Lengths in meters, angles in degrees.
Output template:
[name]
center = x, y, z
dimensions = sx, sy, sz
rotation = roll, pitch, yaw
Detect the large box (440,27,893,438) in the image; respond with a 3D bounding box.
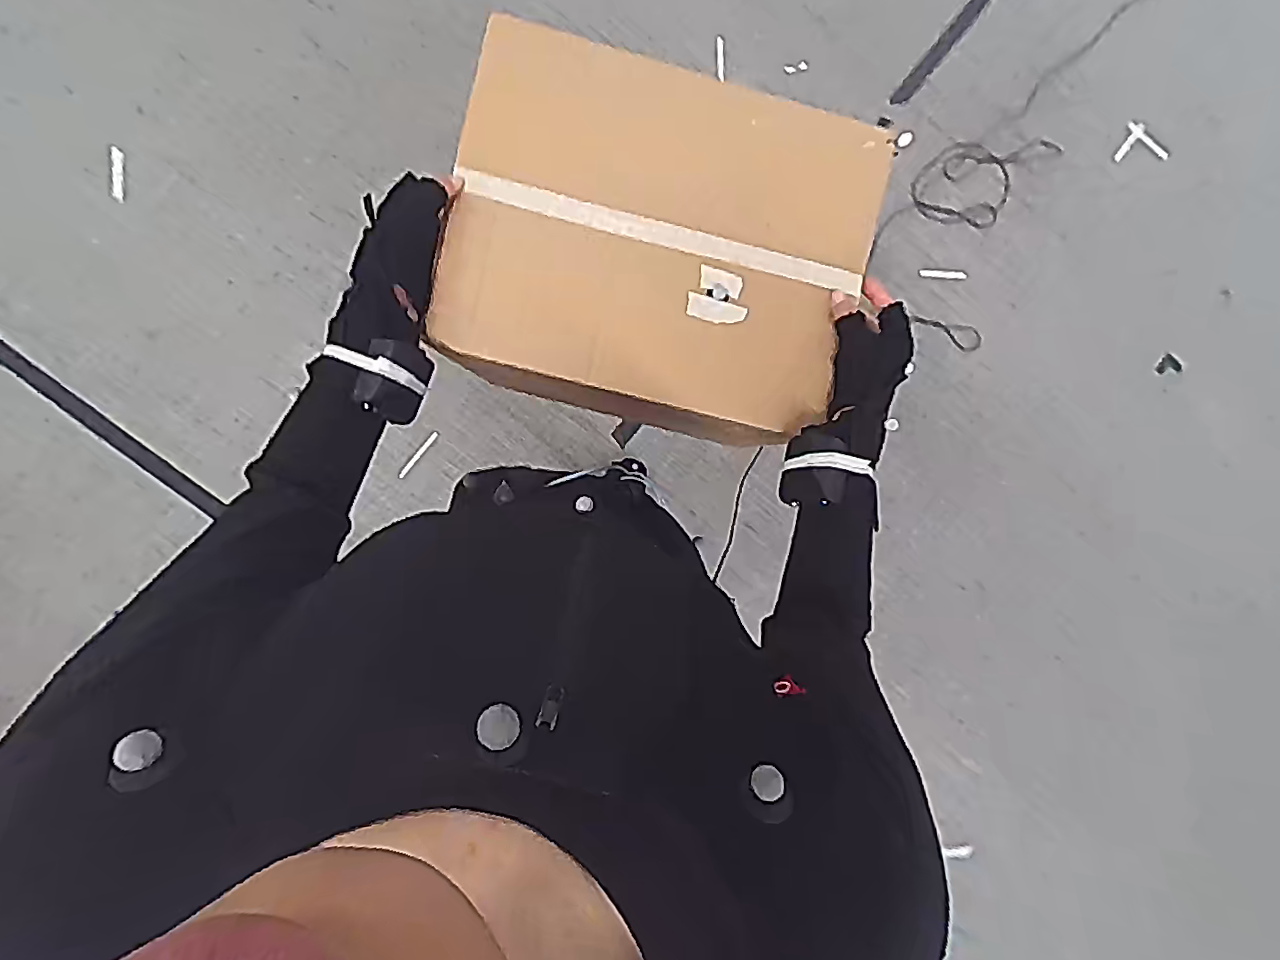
[large box]
center = 0.019, -0.250, 0.683
dimensions = 0.408, 0.320, 0.320
rotation = 14, 93, -5
